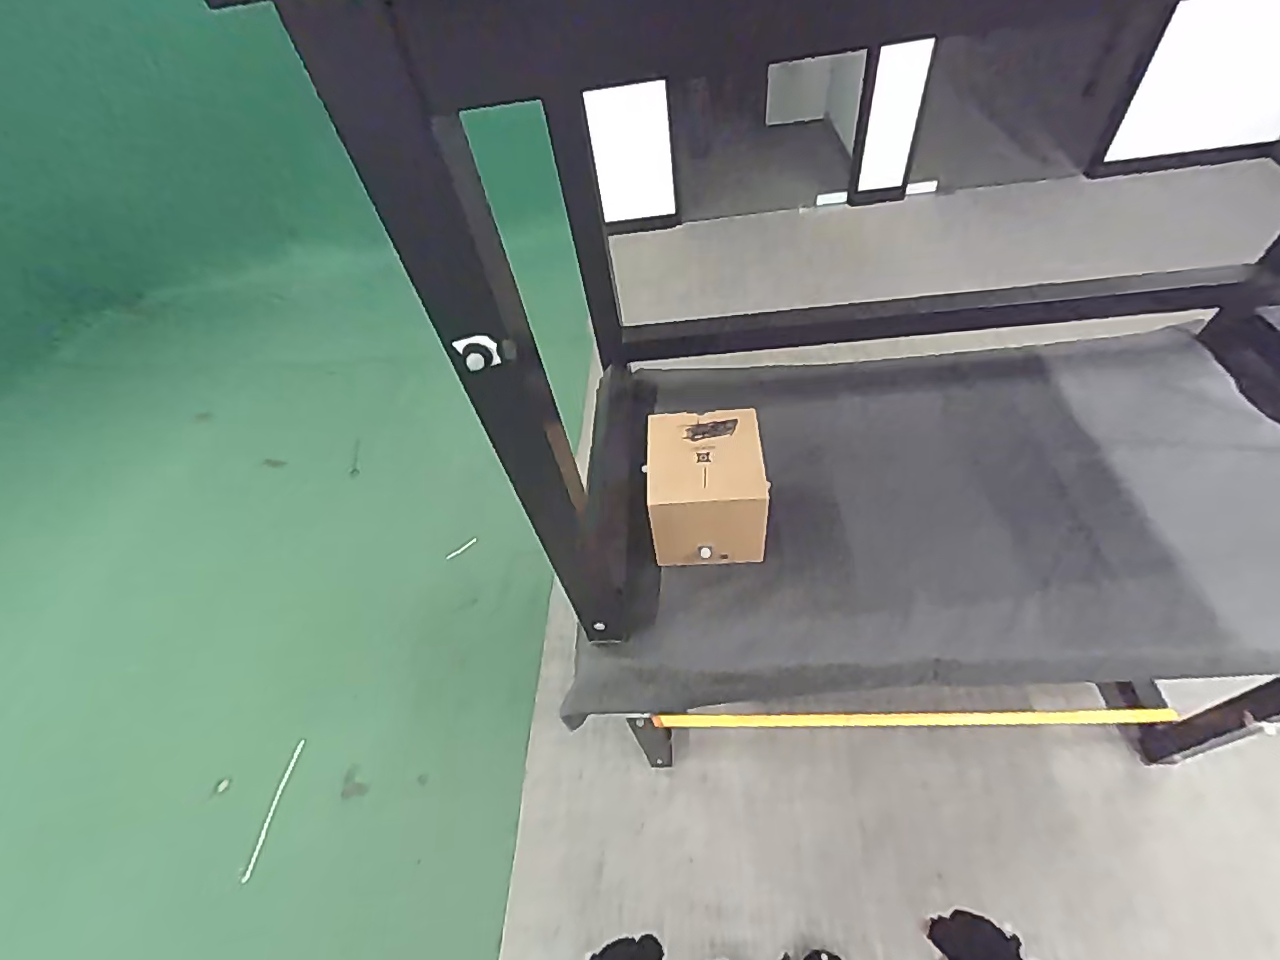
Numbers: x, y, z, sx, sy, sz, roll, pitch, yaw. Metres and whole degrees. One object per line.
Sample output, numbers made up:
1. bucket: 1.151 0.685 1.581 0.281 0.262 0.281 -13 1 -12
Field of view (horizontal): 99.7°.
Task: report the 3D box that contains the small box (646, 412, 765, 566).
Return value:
1. small box: 0.100 0.016 0.848 0.168 0.176 0.179 -3 51 6
